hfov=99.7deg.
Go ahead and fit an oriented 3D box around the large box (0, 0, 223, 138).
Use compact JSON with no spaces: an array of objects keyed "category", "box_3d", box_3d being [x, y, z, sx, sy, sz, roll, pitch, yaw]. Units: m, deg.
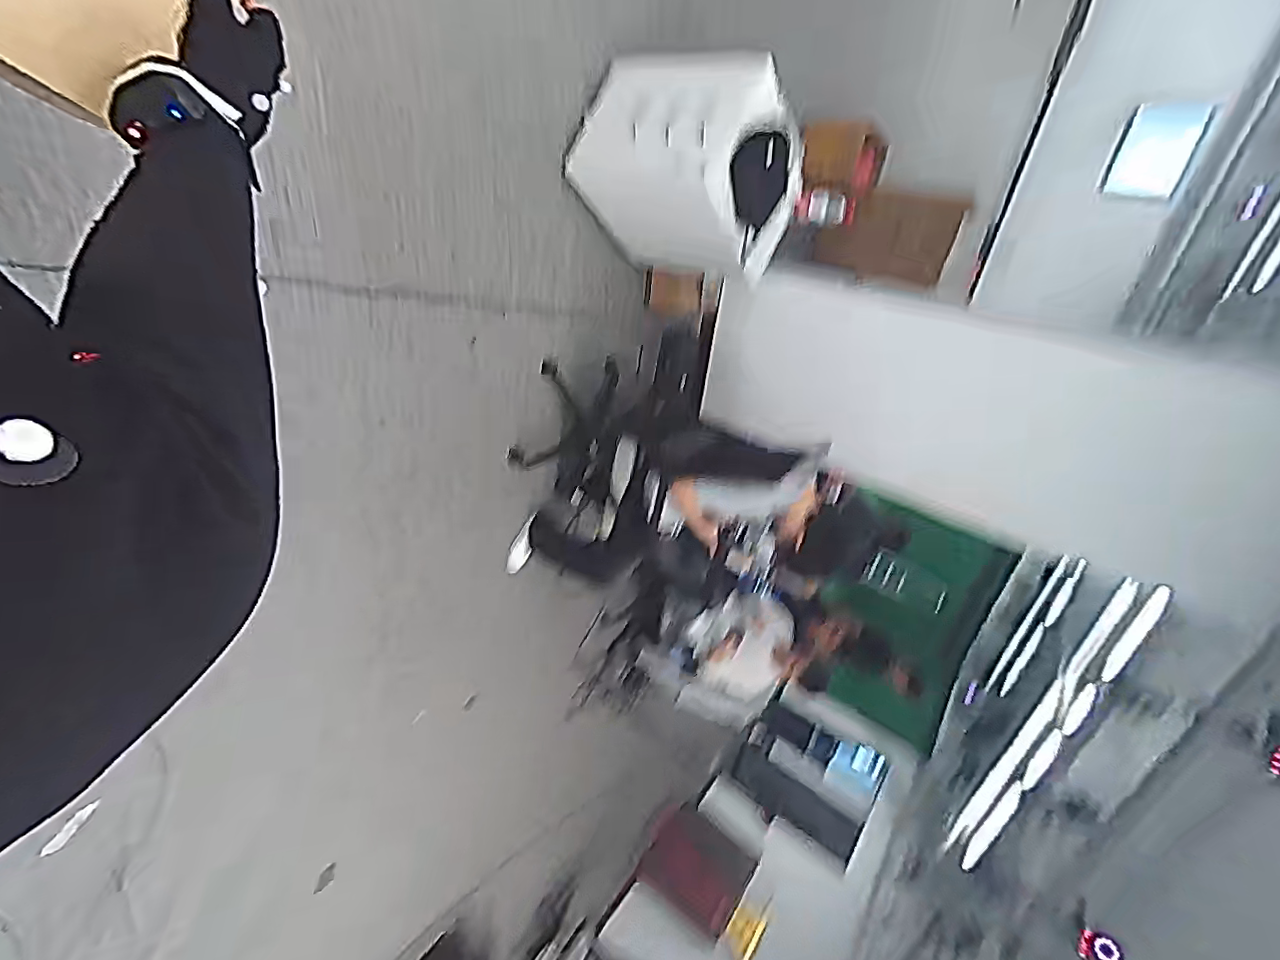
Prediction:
[{"category":"large box","box_3d":[-0.580,-0.543,0.386,0.320,0.320,0.408,-62,153,5]}]
